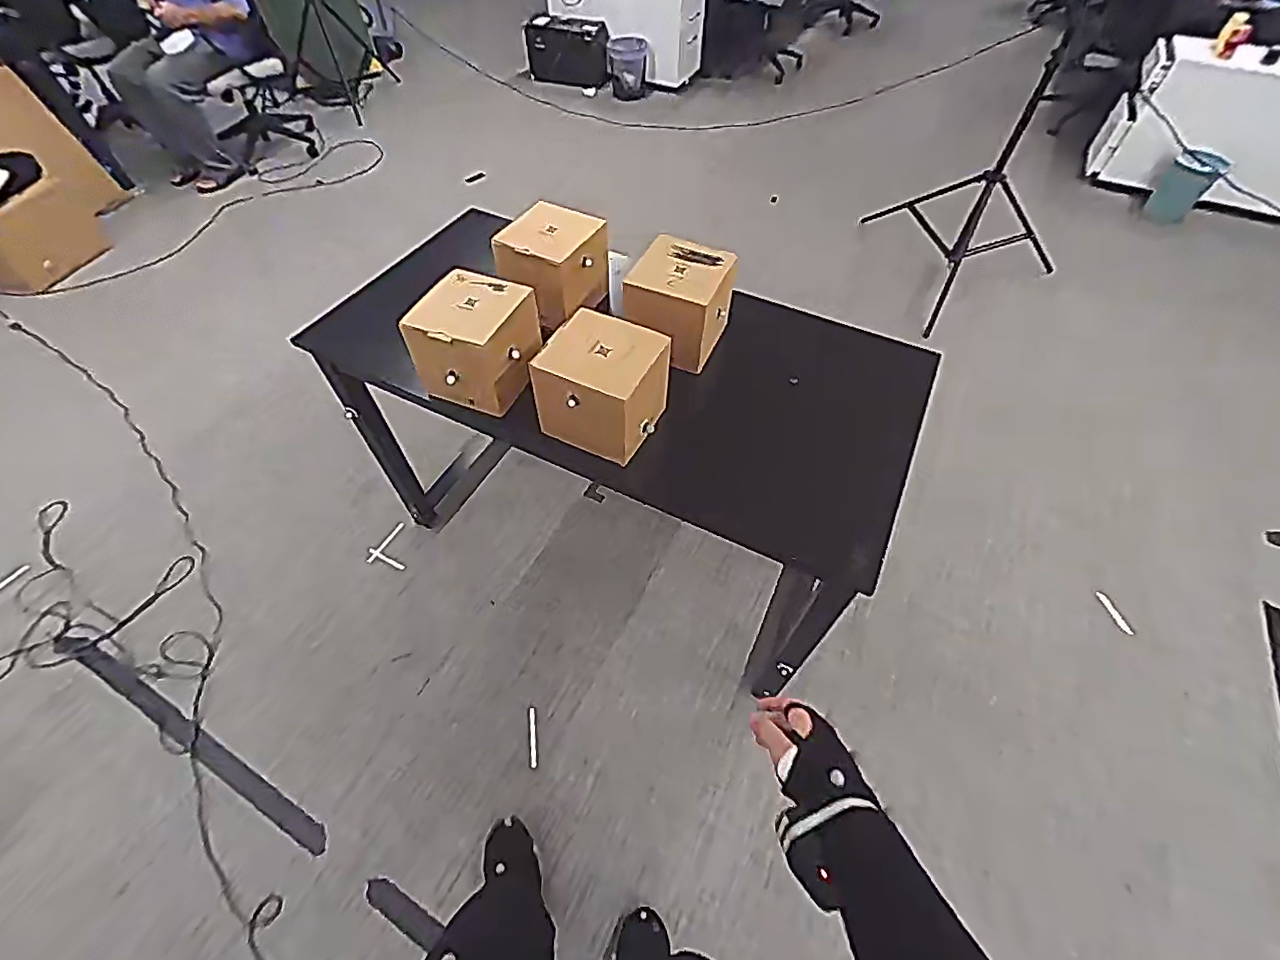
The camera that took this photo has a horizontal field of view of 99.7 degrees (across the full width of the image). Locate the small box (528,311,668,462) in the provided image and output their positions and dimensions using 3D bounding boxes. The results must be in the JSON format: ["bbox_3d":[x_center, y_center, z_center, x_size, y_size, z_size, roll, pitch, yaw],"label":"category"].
[{"bbox_3d":[-0.067,-0.158,0.938,0.179,0.176,0.168,22,57,14],"label":"small box"}]

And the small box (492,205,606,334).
[{"bbox_3d":[-0.184,-0.444,1.146,0.168,0.176,0.179,24,57,16],"label":"small box"}]

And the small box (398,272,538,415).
[{"bbox_3d":[-0.300,-0.248,0.999,0.168,0.176,0.179,18,56,12],"label":"small box"}]
